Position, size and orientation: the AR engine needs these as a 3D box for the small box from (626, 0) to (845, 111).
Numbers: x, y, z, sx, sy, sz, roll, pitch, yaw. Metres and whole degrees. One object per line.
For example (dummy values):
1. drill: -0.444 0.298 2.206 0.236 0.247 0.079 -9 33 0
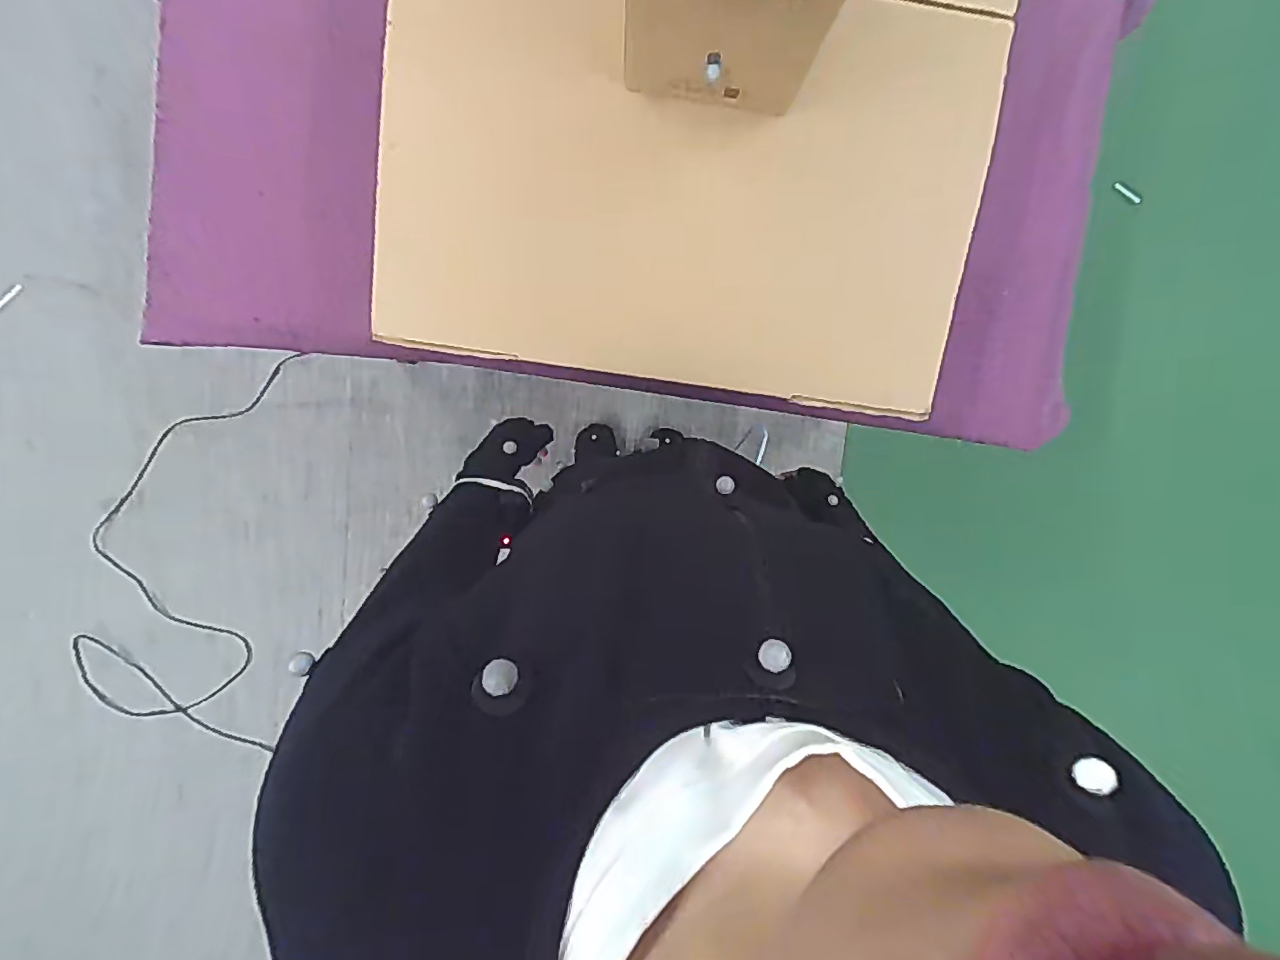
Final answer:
1. small box: 0.081 -0.454 0.442 0.168 0.176 0.179 8 94 -3
